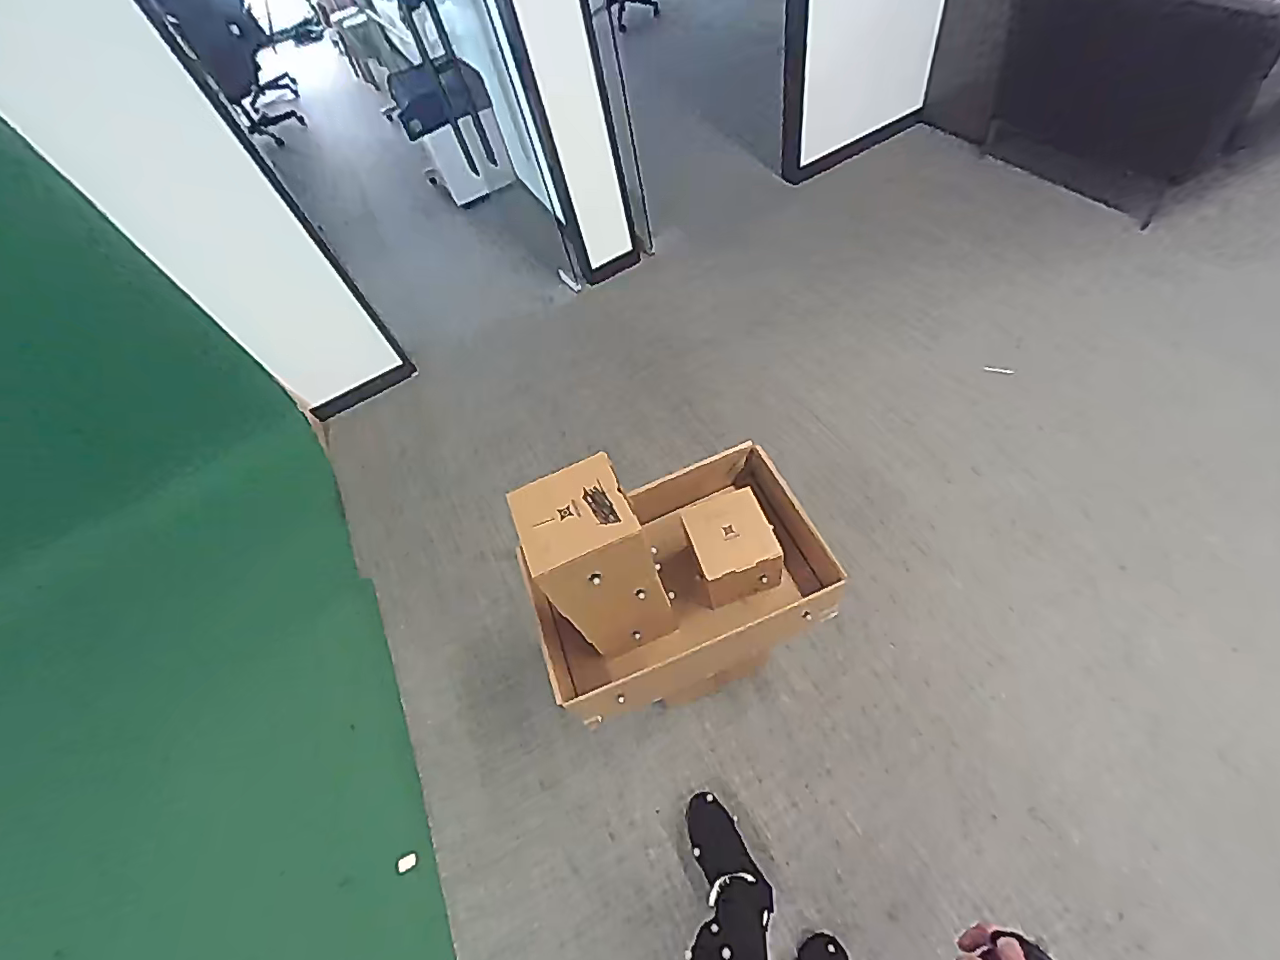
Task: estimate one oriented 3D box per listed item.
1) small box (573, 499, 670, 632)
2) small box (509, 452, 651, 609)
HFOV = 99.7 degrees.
[{"bbox_3d":[-0.058,0.171,1.043,0.179,0.176,0.168,-23,56,-2],"label":"small box"},{"bbox_3d":[-0.091,0.088,0.904,0.179,0.176,0.168,-25,56,-2],"label":"small box"}]
